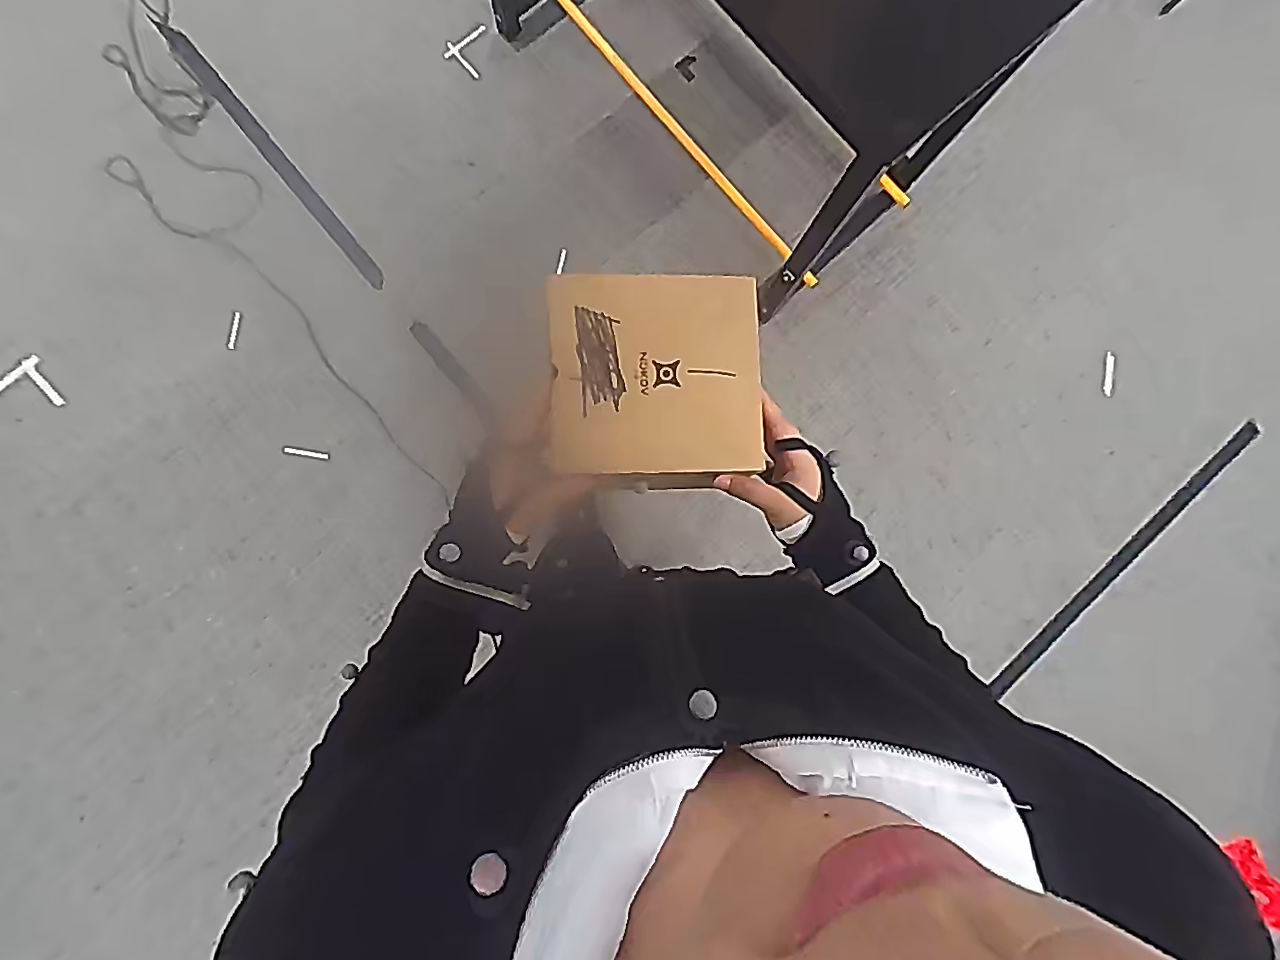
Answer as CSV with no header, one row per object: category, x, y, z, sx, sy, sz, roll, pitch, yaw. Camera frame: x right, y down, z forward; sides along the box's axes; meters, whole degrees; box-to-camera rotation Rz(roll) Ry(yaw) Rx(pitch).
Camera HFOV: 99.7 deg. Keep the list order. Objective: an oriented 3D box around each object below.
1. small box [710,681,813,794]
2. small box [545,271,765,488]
small box,0.305,0.651,1.395,0.179,0.176,0.168,44,84,2
small box,0.008,-0.081,0.515,0.179,0.176,0.168,-1,85,-4
